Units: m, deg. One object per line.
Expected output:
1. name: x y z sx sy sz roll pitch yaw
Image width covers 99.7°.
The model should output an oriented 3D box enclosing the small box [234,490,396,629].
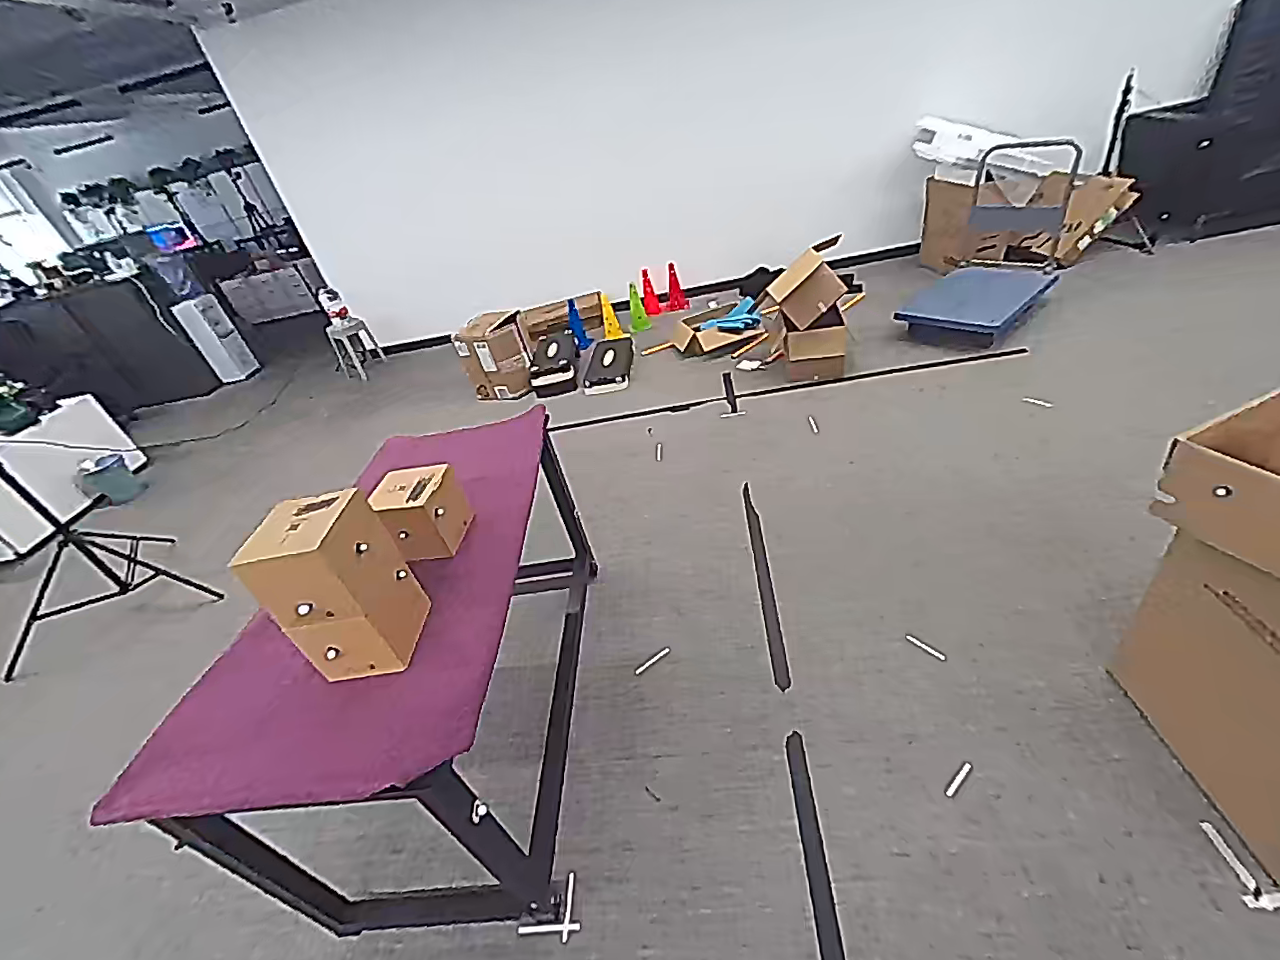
1. small box: -0.581 0.146 0.999 0.168 0.176 0.179 -11 35 6

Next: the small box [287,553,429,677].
1. small box: -0.553 0.278 1.092 0.168 0.176 0.179 -10 35 5
